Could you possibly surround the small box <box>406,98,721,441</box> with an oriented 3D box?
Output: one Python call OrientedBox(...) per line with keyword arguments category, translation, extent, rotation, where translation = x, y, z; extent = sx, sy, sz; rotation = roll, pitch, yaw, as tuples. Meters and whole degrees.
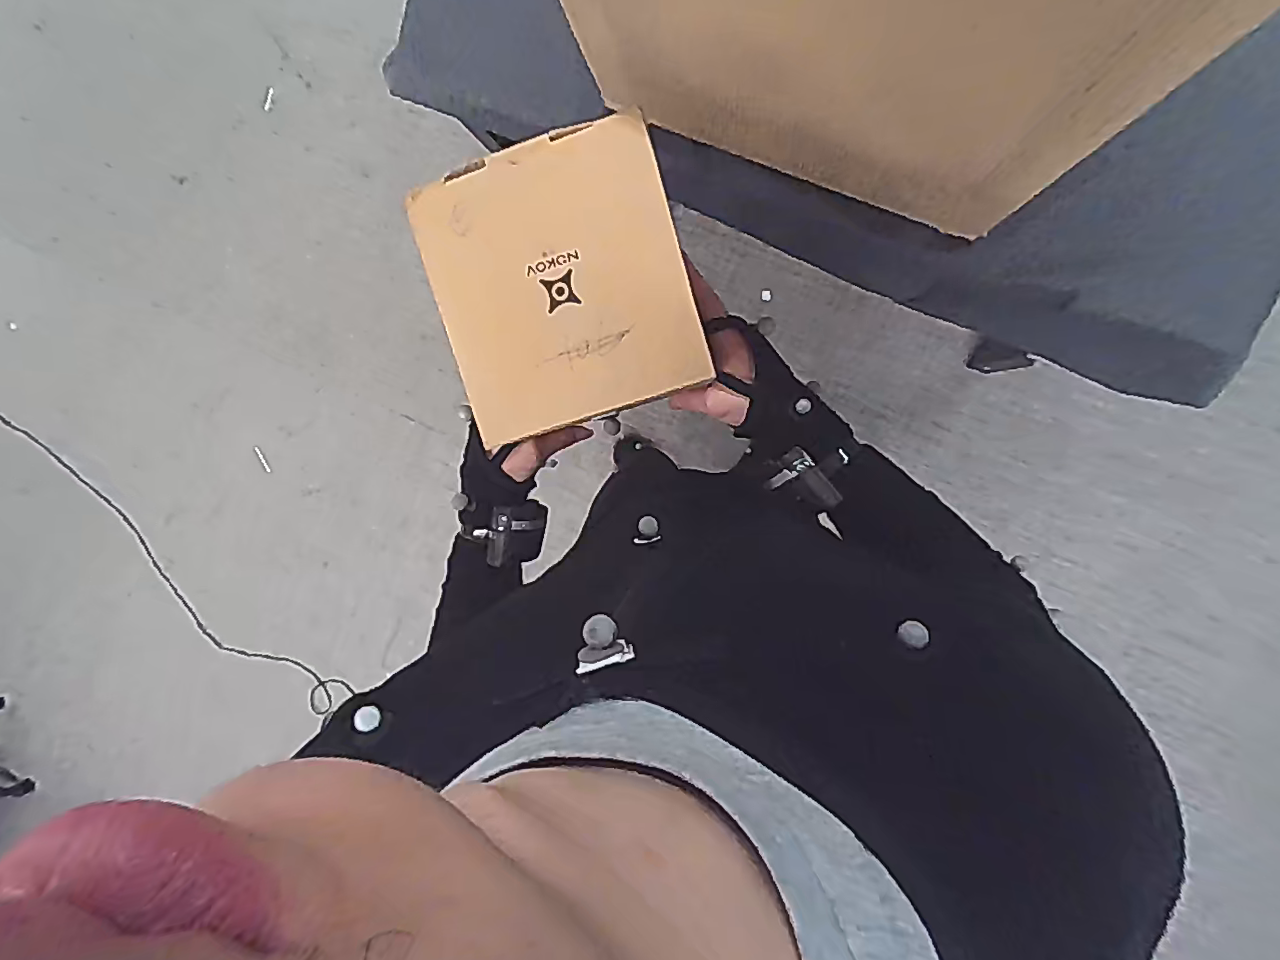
OrientedBox(category="small box", translation=(-0.043, -0.141, 0.427), extent=(0.168, 0.176, 0.179), rotation=(-18, 97, 8))
